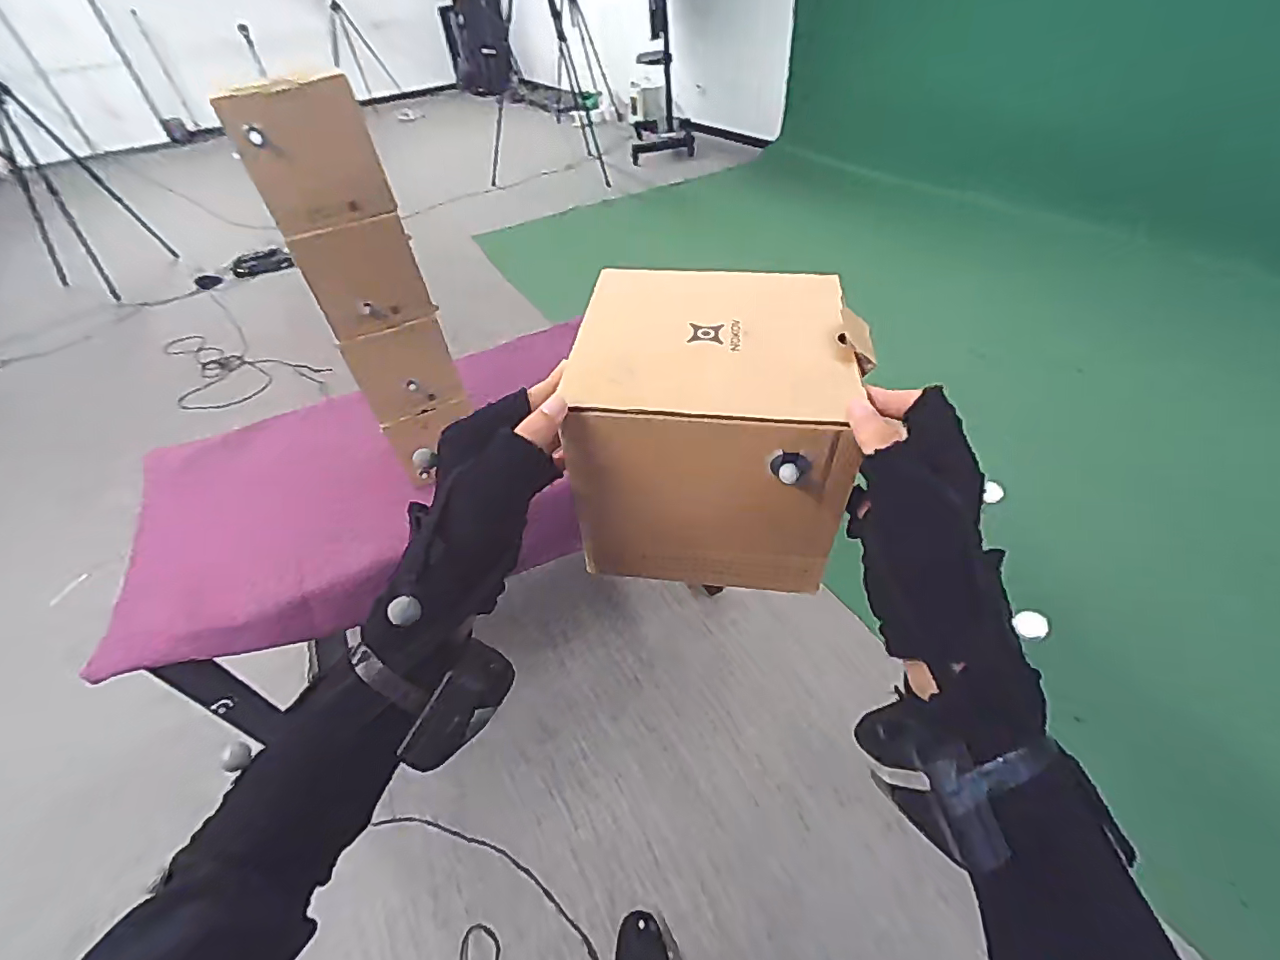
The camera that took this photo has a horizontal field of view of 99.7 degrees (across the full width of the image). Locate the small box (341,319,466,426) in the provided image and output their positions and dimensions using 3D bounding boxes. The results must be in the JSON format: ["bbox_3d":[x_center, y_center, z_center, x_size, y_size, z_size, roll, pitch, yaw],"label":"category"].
[{"bbox_3d":[-0.449,-0.230,1.024,0.168,0.176,0.179,-23,46,-16],"label":"small box"}]

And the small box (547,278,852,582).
[{"bbox_3d":[0.045,-0.037,0.415,0.179,0.176,0.168,3,47,6],"label":"small box"}]

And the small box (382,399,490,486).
[{"bbox_3d":[-0.430,-0.108,1.132,0.168,0.176,0.179,-22,45,-16],"label":"small box"}]

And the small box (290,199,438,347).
[{"bbox_3d":[-0.463,-0.351,0.915,0.168,0.176,0.179,-23,46,-16],"label":"small box"}]
